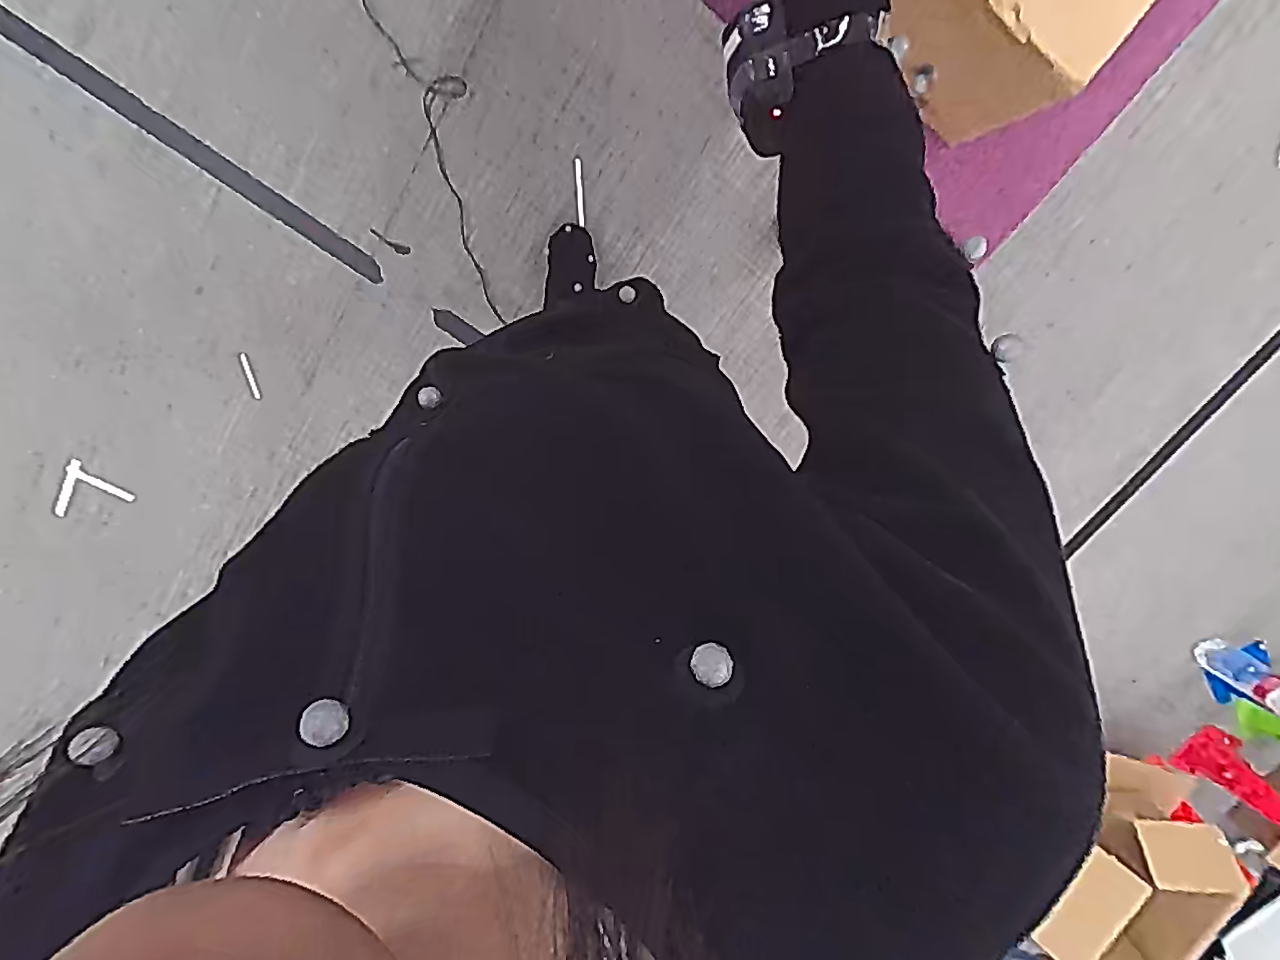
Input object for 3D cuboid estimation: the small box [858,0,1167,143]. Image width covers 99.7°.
[{"bbox_3d":[0.324,-0.431,0.455,0.168,0.176,0.179,33,105,-13],"label":"small box"}]
